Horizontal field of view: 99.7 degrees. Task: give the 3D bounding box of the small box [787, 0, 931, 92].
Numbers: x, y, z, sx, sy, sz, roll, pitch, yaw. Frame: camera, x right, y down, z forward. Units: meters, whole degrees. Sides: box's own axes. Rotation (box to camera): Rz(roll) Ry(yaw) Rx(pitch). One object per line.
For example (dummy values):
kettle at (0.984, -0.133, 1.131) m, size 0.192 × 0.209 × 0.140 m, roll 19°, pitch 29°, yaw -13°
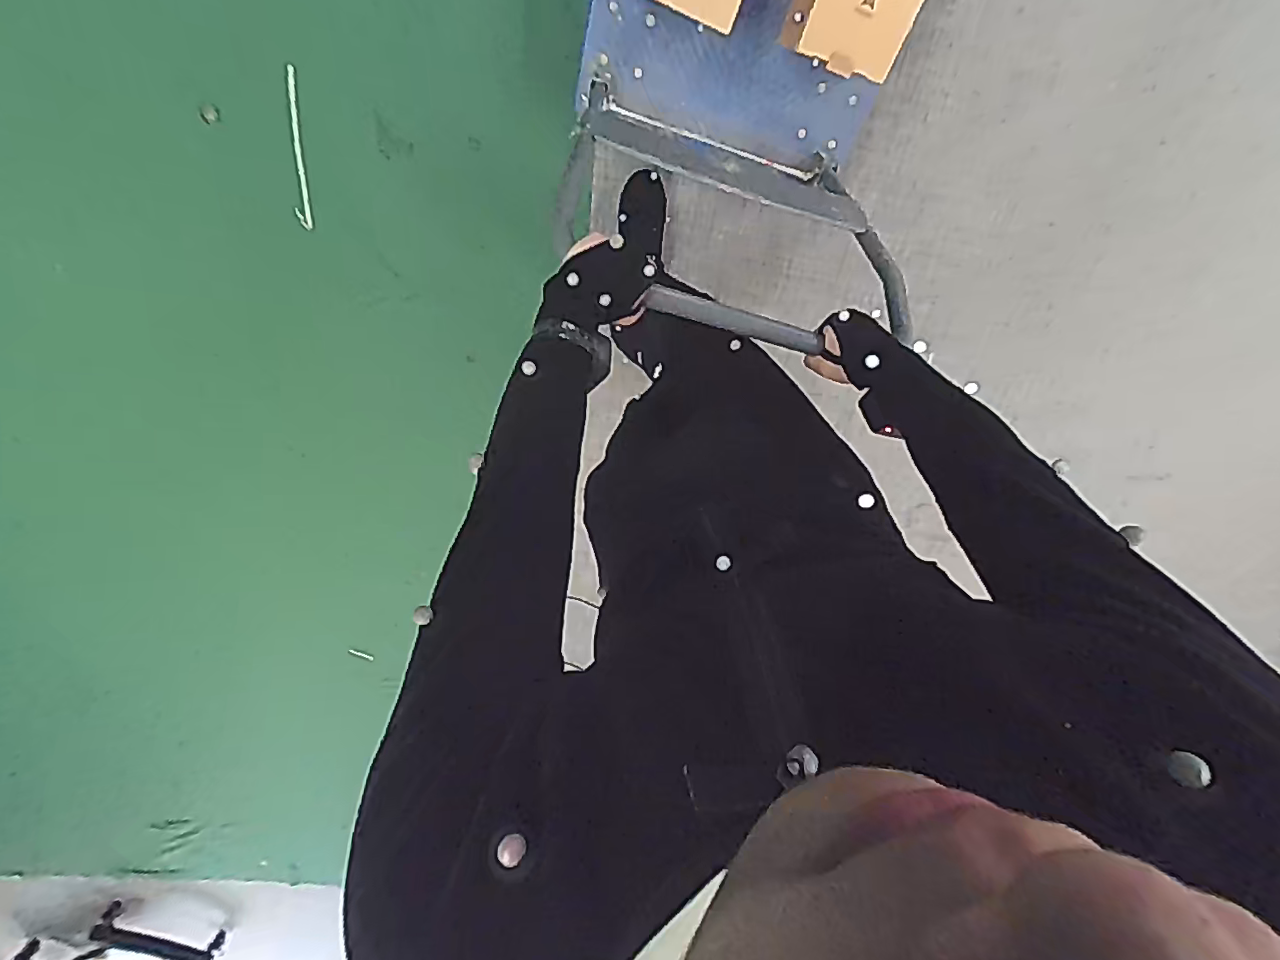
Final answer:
small box at (0.365, -0.795, 0.908) m, size 0.168 × 0.176 × 0.179 m, roll 13°, pitch 133°, yaw -11°
